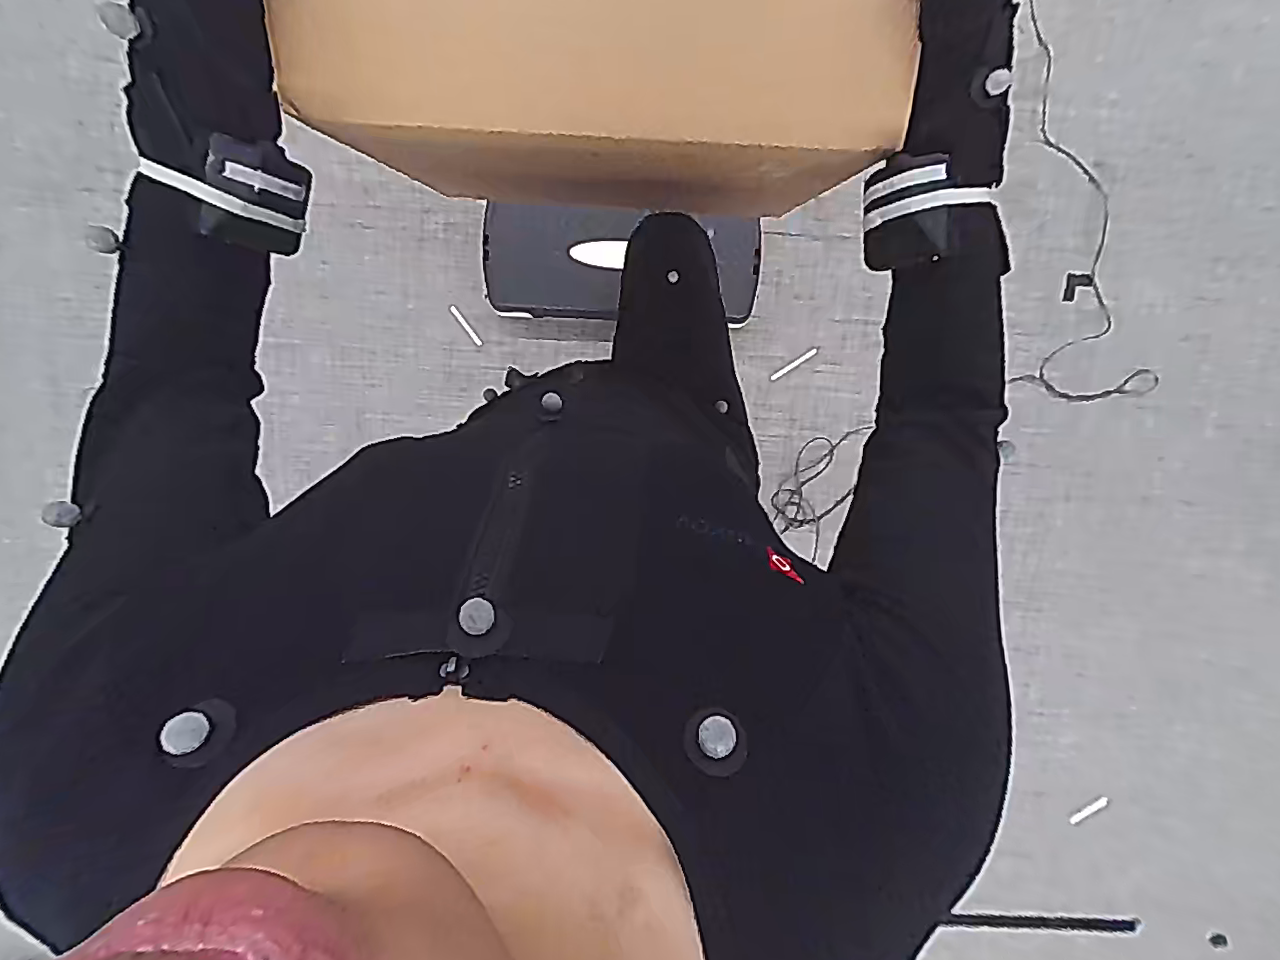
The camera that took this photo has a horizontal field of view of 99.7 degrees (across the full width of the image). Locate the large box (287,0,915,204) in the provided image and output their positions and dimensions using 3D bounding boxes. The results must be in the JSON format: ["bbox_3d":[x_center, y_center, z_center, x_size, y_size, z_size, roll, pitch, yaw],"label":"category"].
[{"bbox_3d":[-0.023,-0.432,0.454,0.408,0.320,0.320,2,109,-1],"label":"large box"}]
